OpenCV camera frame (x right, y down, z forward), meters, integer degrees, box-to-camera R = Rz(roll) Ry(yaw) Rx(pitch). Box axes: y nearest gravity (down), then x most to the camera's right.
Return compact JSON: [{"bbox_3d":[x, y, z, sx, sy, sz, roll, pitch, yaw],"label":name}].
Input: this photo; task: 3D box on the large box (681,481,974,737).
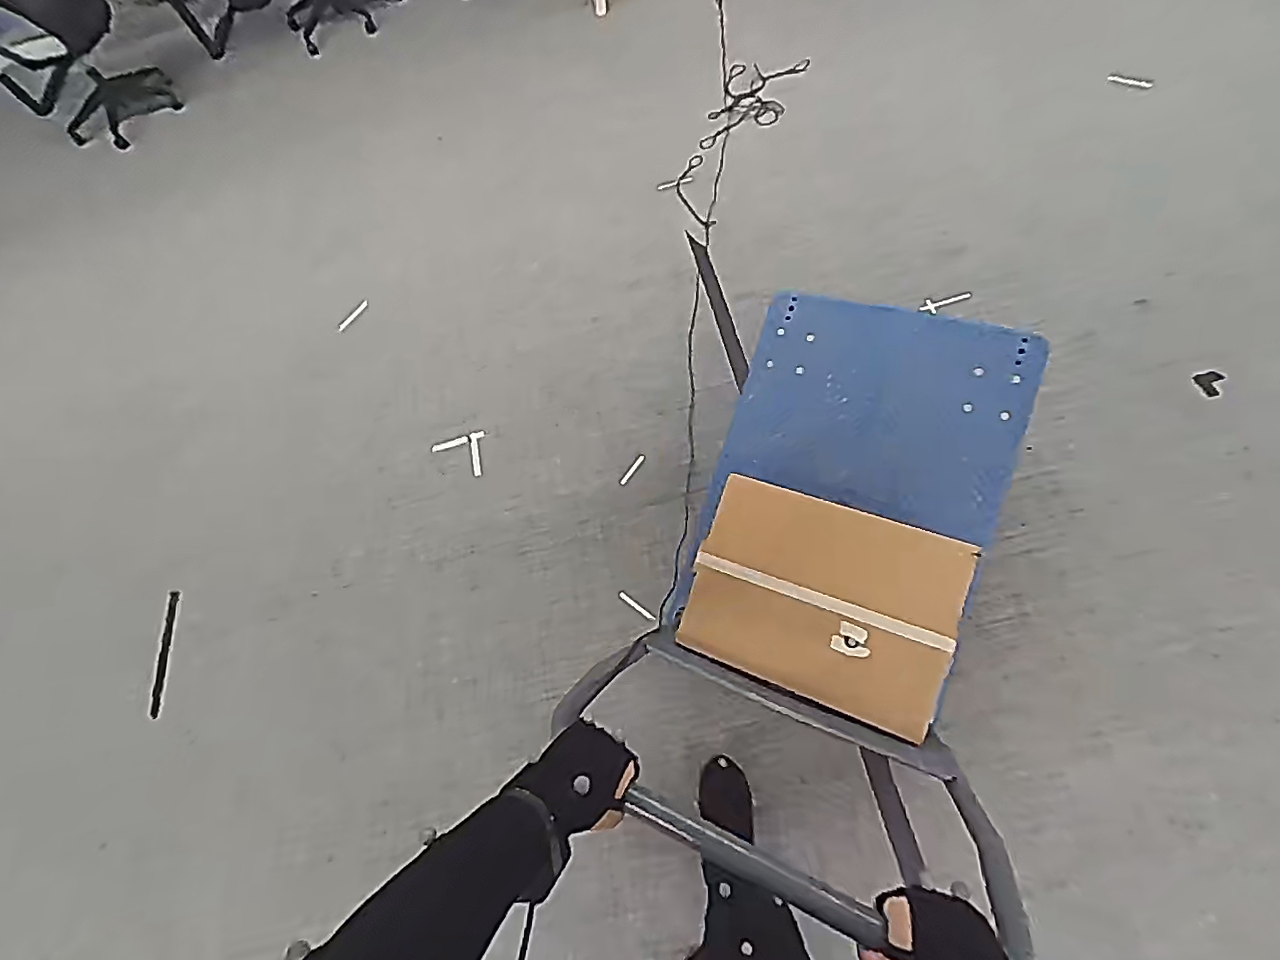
[{"bbox_3d":[0.336,0.220,1.035,0.408,0.320,0.320,17,87,19],"label":"large box"}]
